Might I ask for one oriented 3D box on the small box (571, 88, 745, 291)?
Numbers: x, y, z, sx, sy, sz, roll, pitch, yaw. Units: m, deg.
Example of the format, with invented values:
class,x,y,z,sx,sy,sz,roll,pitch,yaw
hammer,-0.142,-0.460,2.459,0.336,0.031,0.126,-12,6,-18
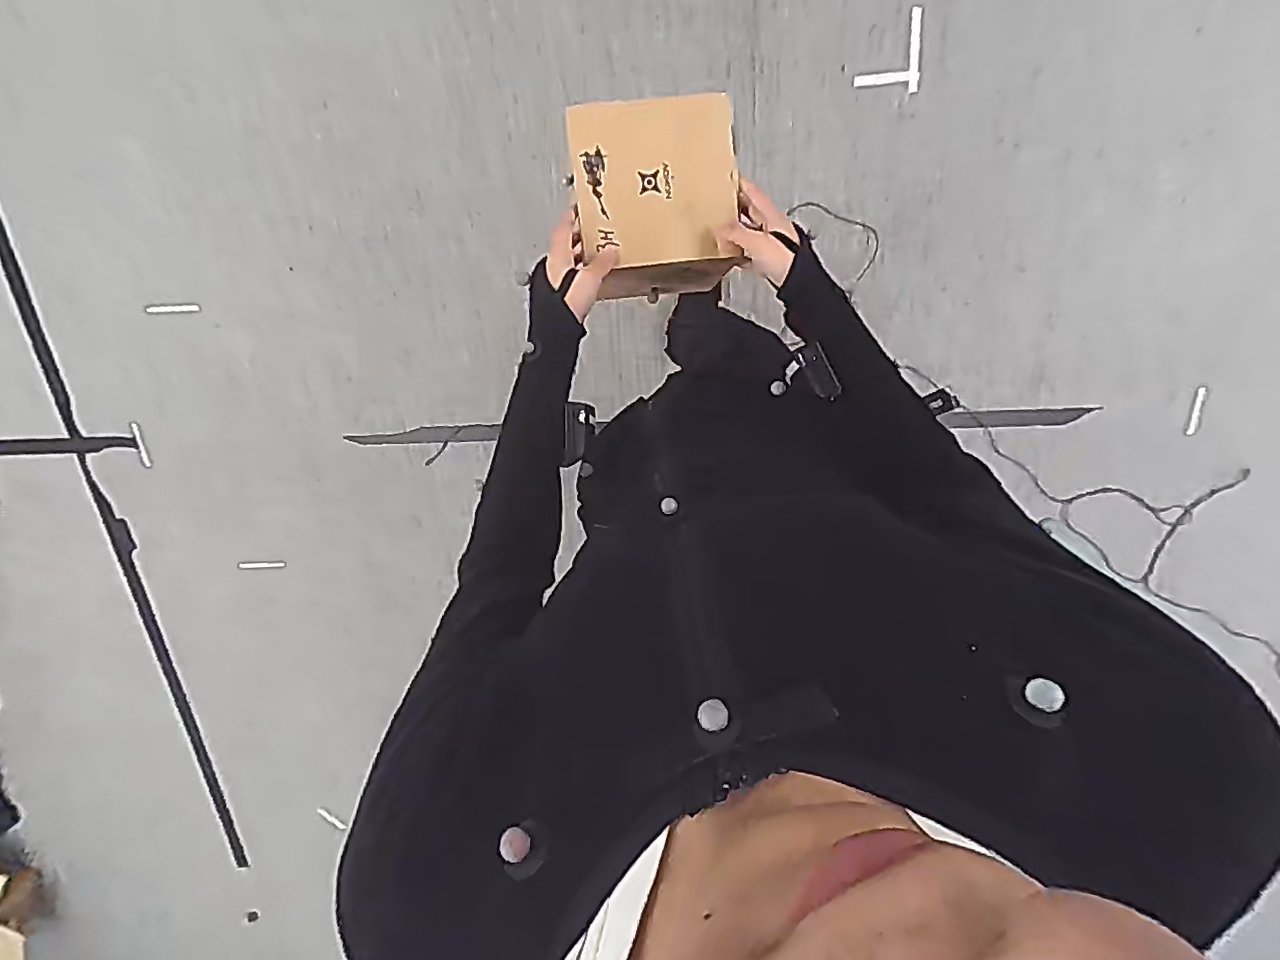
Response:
class,x,y,z,sx,sy,sz,roll,pitch,yaw
small box,0.012,-0.329,0.642,0.179,0.176,0.168,-6,98,-5
